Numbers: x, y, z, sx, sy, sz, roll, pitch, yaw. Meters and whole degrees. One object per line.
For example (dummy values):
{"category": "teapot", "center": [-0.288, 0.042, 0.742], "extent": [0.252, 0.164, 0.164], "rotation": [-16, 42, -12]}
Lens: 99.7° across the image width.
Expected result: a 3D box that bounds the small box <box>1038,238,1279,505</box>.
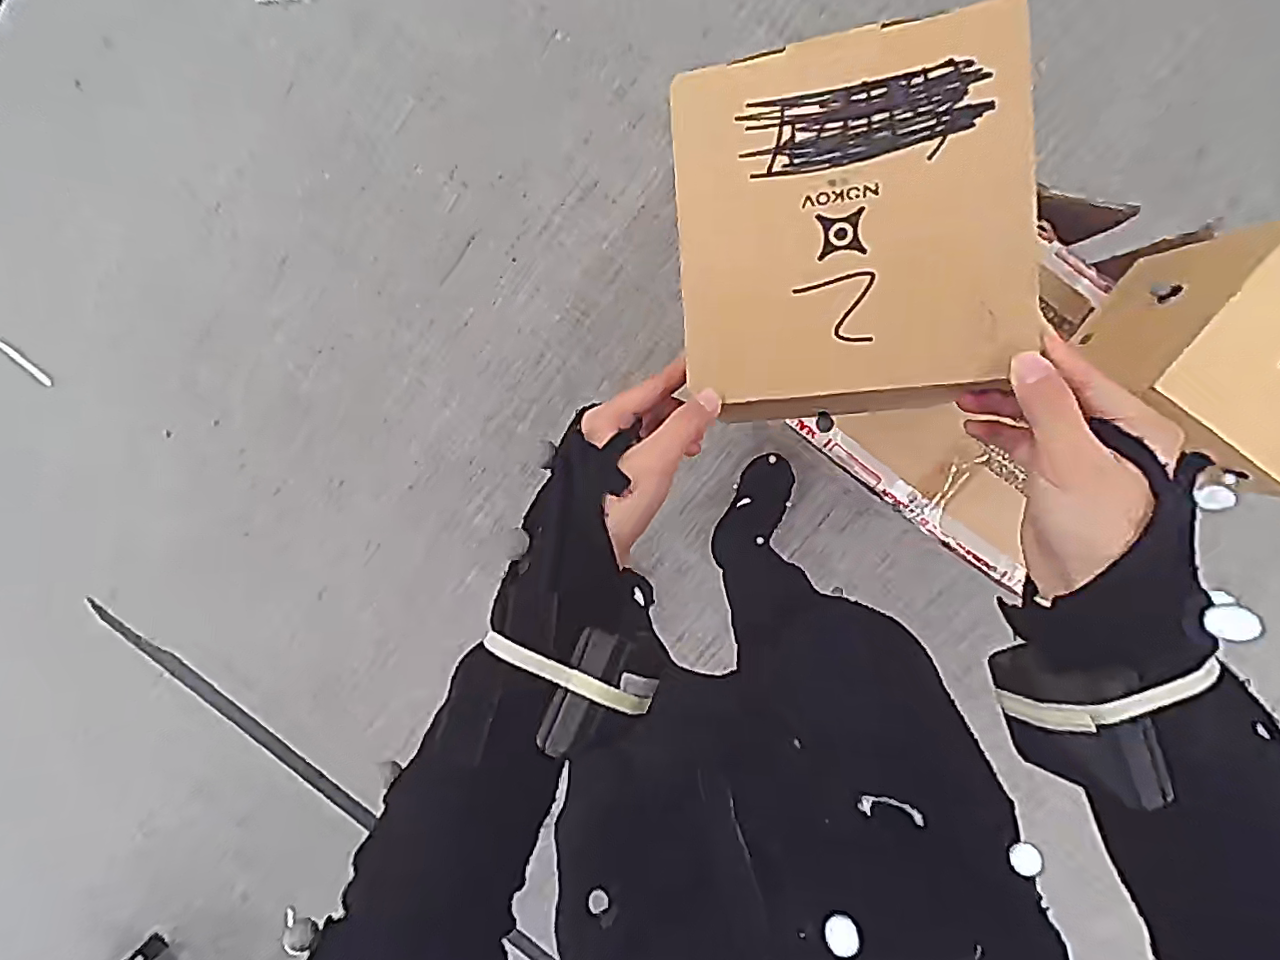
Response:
{"category": "small box", "center": [0.555, -0.098, 0.530], "extent": [0.179, 0.176, 0.168], "rotation": [35, 101, -3]}
